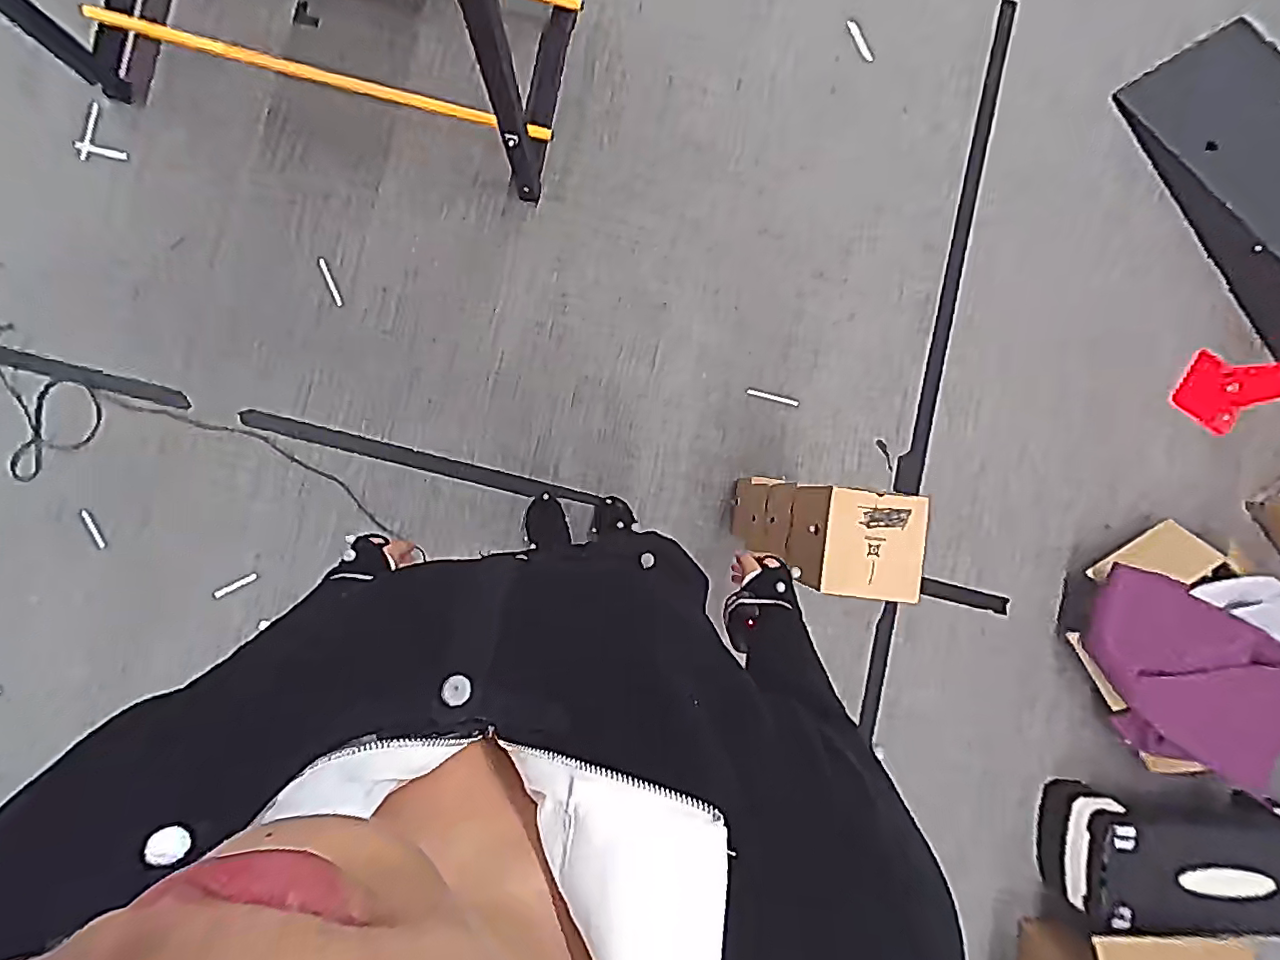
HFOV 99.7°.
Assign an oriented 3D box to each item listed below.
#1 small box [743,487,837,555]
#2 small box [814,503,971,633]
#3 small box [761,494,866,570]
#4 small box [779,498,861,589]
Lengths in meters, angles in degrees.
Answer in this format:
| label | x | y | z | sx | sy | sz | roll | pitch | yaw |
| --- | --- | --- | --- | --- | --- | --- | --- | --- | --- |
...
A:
| label | x | y | z | sx | sy | sz | roll | pitch | yaw |
| --- | --- | --- | --- | --- | --- | --- | --- | --- | --- |
| small box | 0.374 | 0.109 | 1.370 | 0.179 | 0.176 | 0.168 | 7 | 88 | -2 |
| small box | 0.397 | 0.133 | 0.876 | 0.168 | 0.176 | 0.179 | 7 | 89 | -3 |
| small box | 0.378 | 0.123 | 1.206 | 0.179 | 0.176 | 0.168 | 6 | 88 | -2 |
| small box | 0.389 | 0.128 | 1.041 | 0.179 | 0.176 | 0.168 | 11 | 87 | -3 |
